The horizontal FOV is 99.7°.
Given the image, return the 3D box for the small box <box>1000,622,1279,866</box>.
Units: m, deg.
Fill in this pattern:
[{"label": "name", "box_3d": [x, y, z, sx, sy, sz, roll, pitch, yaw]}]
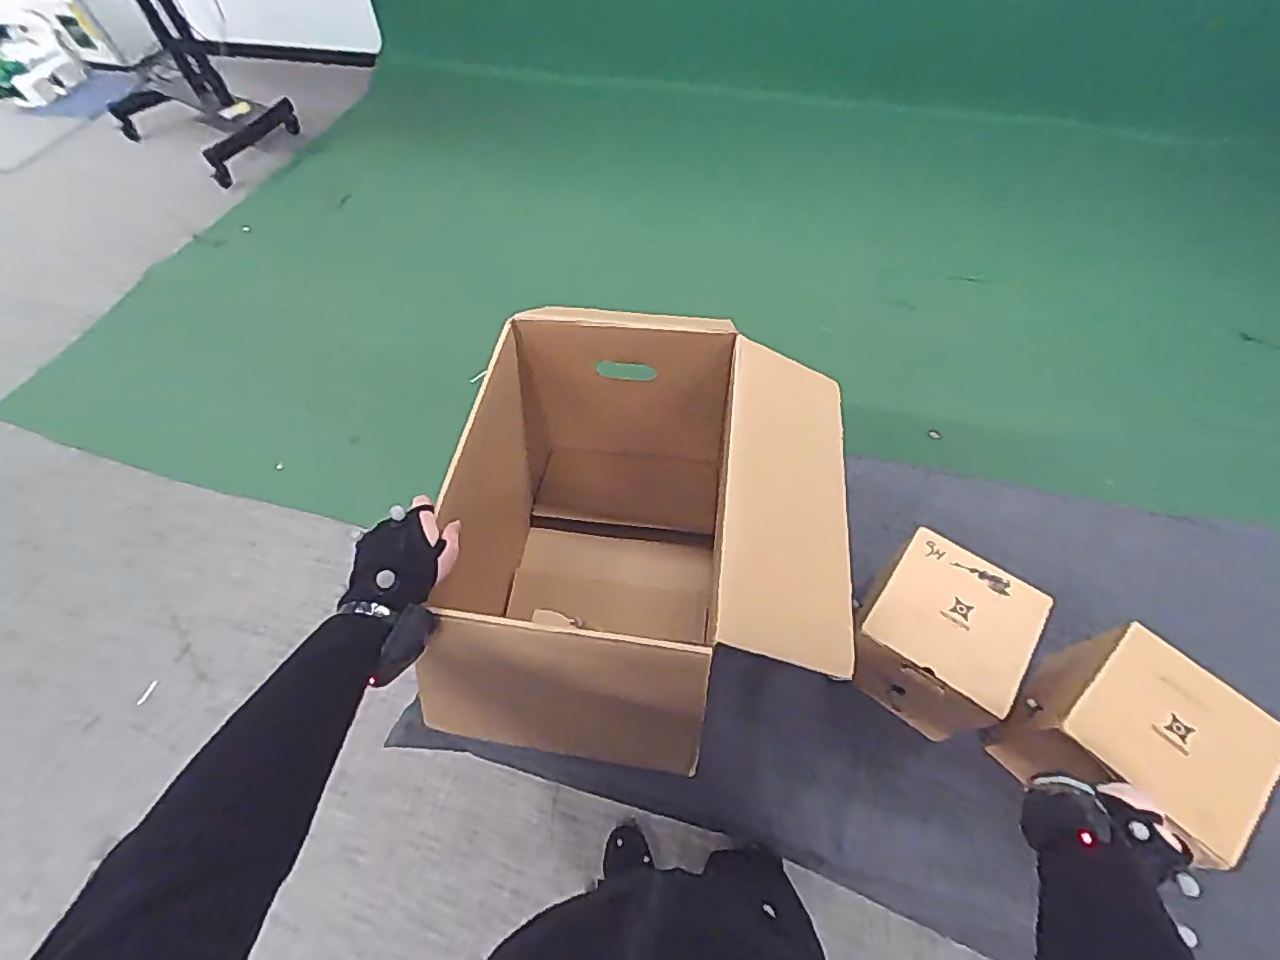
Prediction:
[{"label": "small box", "box_3d": [0.566, 0.304, 0.629, 0.179, 0.176, 0.168, -38, 64, -20]}]
